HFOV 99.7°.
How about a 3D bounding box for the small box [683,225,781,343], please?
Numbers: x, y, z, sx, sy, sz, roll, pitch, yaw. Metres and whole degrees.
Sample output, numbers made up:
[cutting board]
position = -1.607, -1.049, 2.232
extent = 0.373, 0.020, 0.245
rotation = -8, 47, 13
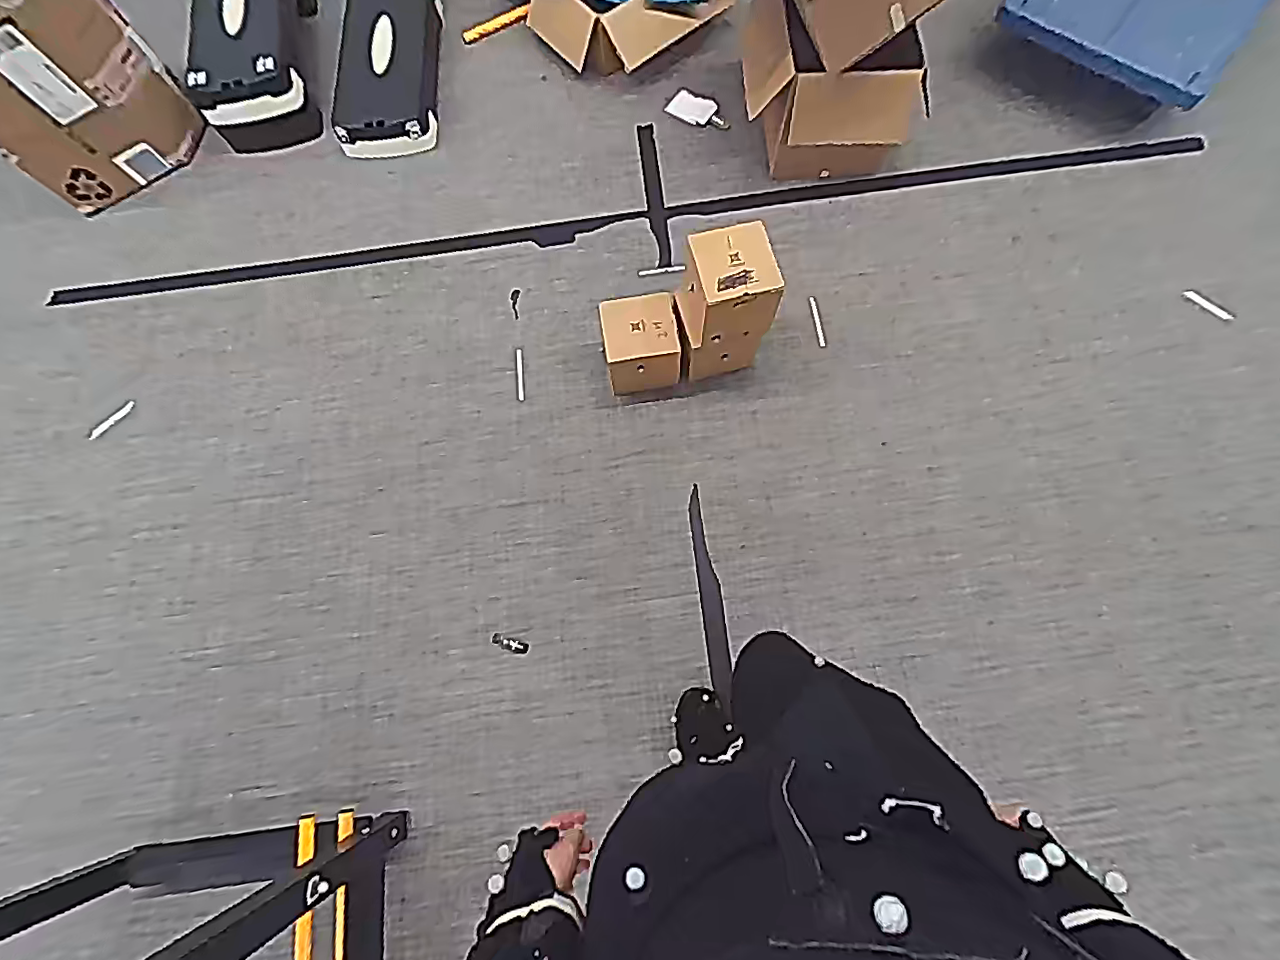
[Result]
[small box]
position = 0.195, -0.422, 1.195
extent = 0.168, 0.176, 0.179
rotation = -12, 72, -2
